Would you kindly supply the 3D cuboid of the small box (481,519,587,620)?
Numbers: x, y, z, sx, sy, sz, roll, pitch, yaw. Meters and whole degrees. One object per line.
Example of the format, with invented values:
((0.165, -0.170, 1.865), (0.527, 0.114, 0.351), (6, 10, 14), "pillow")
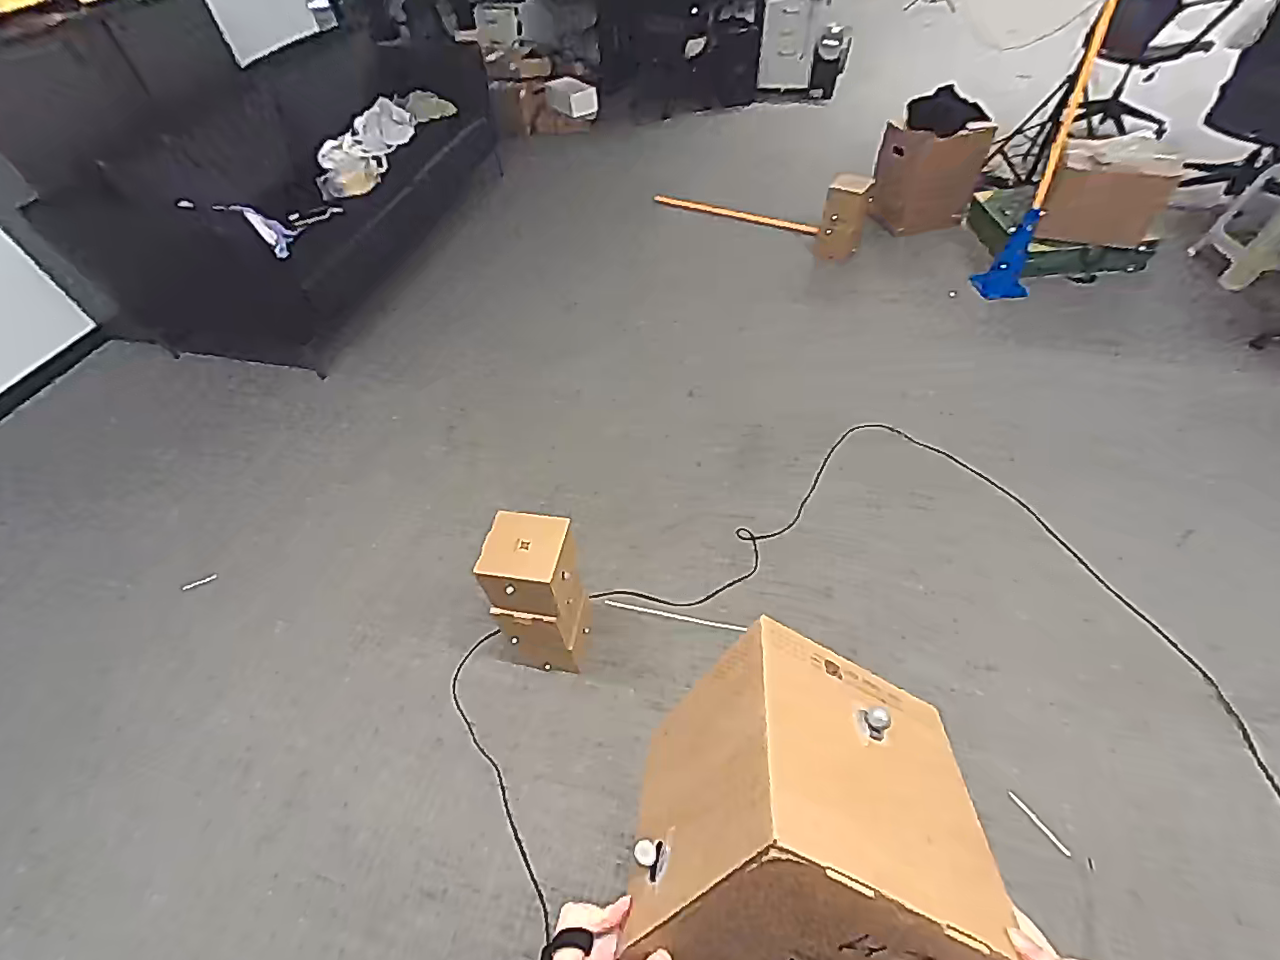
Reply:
((-0.233, 0.210, 1.249), (0.179, 0.176, 0.168), (4, 51, 12), "small box")

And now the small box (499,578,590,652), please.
((-0.232, 0.317, 1.373), (0.168, 0.176, 0.179), (5, 51, 10), "small box")
